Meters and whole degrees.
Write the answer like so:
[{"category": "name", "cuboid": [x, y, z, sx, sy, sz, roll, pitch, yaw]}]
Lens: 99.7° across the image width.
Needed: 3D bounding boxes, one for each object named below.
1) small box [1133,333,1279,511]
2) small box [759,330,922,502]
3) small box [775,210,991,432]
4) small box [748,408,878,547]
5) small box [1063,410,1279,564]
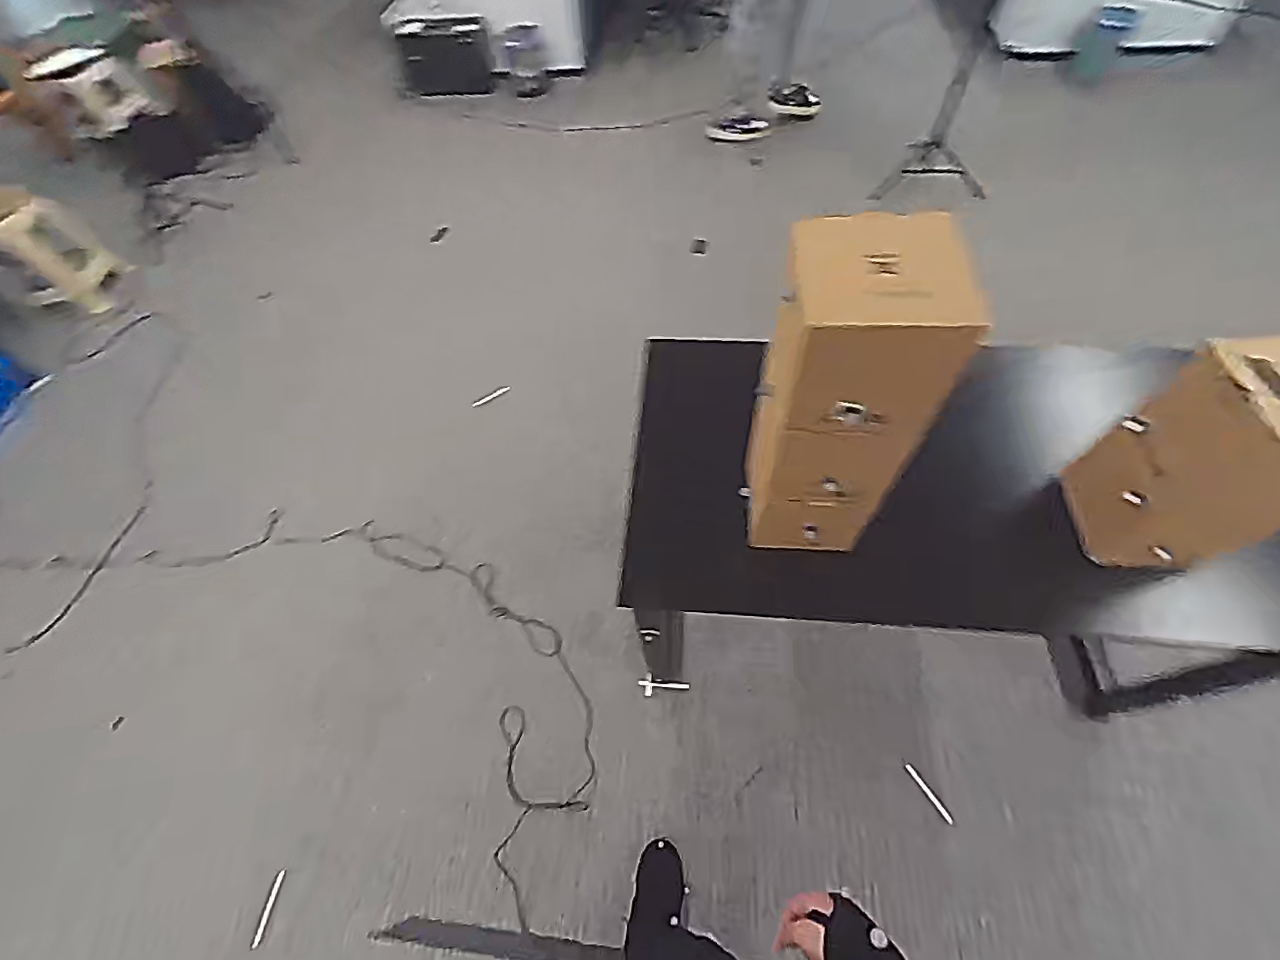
[{"category": "small box", "cuboid": [0.792, -0.068, 0.689, 0.179, 0.176, 0.168, -1, 59, 3]}, {"category": "small box", "cuboid": [0.259, -0.088, 0.745, 0.168, 0.176, 0.179, 1, 58, 6]}, {"category": "small box", "cuboid": [0.248, -0.173, 0.606, 0.168, 0.176, 0.179, 0, 59, 6]}, {"category": "small box", "cuboid": [0.270, 0.000, 0.884, 0.168, 0.176, 0.179, 1, 59, 5]}, {"category": "small box", "cuboid": [0.804, 0.013, 0.832, 0.168, 0.176, 0.179, 2, 59, 6]}]
